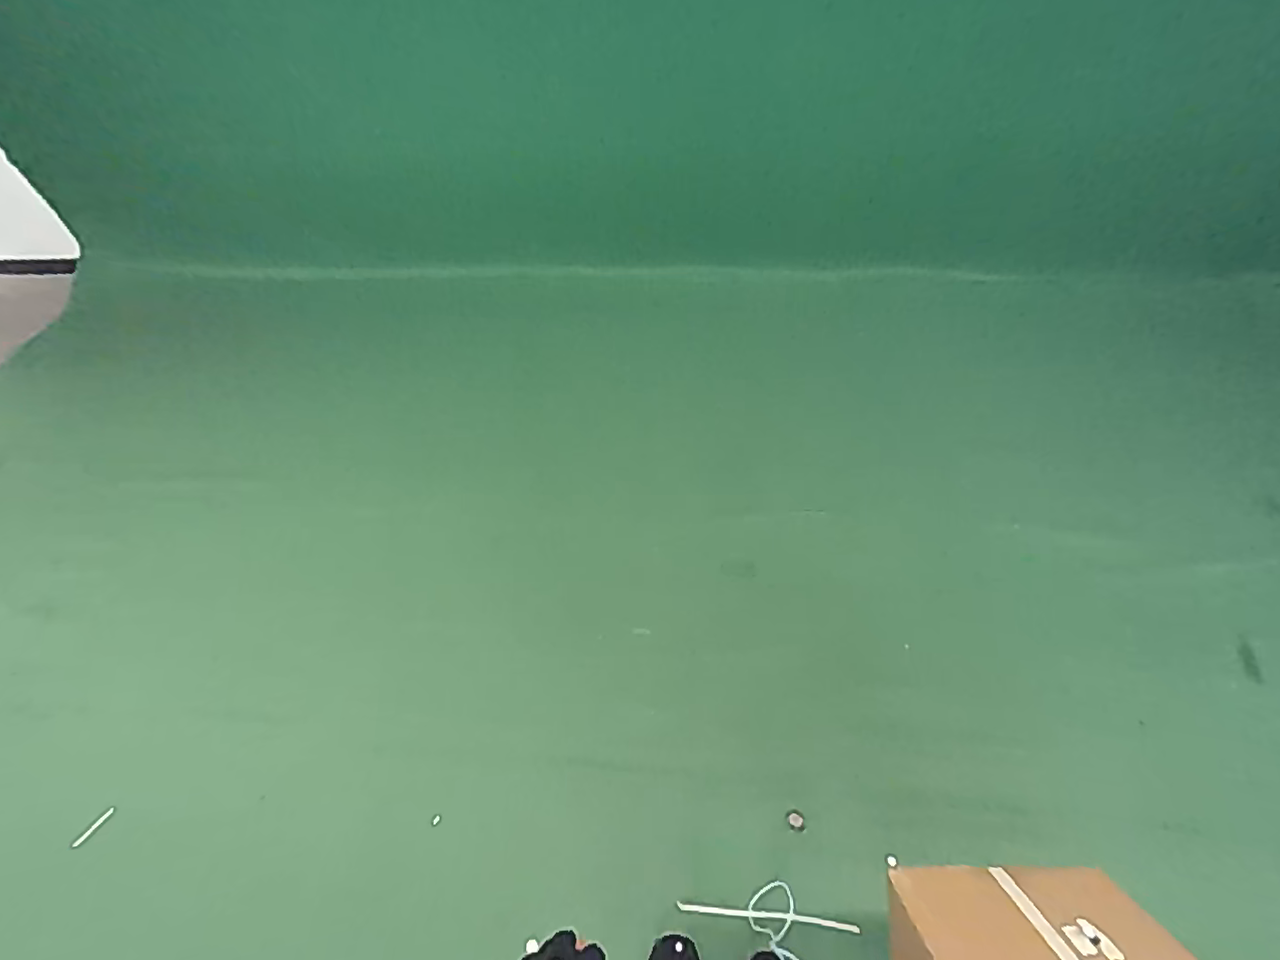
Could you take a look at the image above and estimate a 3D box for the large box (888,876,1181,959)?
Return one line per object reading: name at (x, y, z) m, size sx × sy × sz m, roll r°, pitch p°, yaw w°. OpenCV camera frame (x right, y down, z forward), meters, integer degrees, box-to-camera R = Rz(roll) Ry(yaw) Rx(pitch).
large box at (0.529, 0.755, 0.621) m, size 0.320 × 0.408 × 0.320 m, roll -2°, pitch 89°, yaw 4°
